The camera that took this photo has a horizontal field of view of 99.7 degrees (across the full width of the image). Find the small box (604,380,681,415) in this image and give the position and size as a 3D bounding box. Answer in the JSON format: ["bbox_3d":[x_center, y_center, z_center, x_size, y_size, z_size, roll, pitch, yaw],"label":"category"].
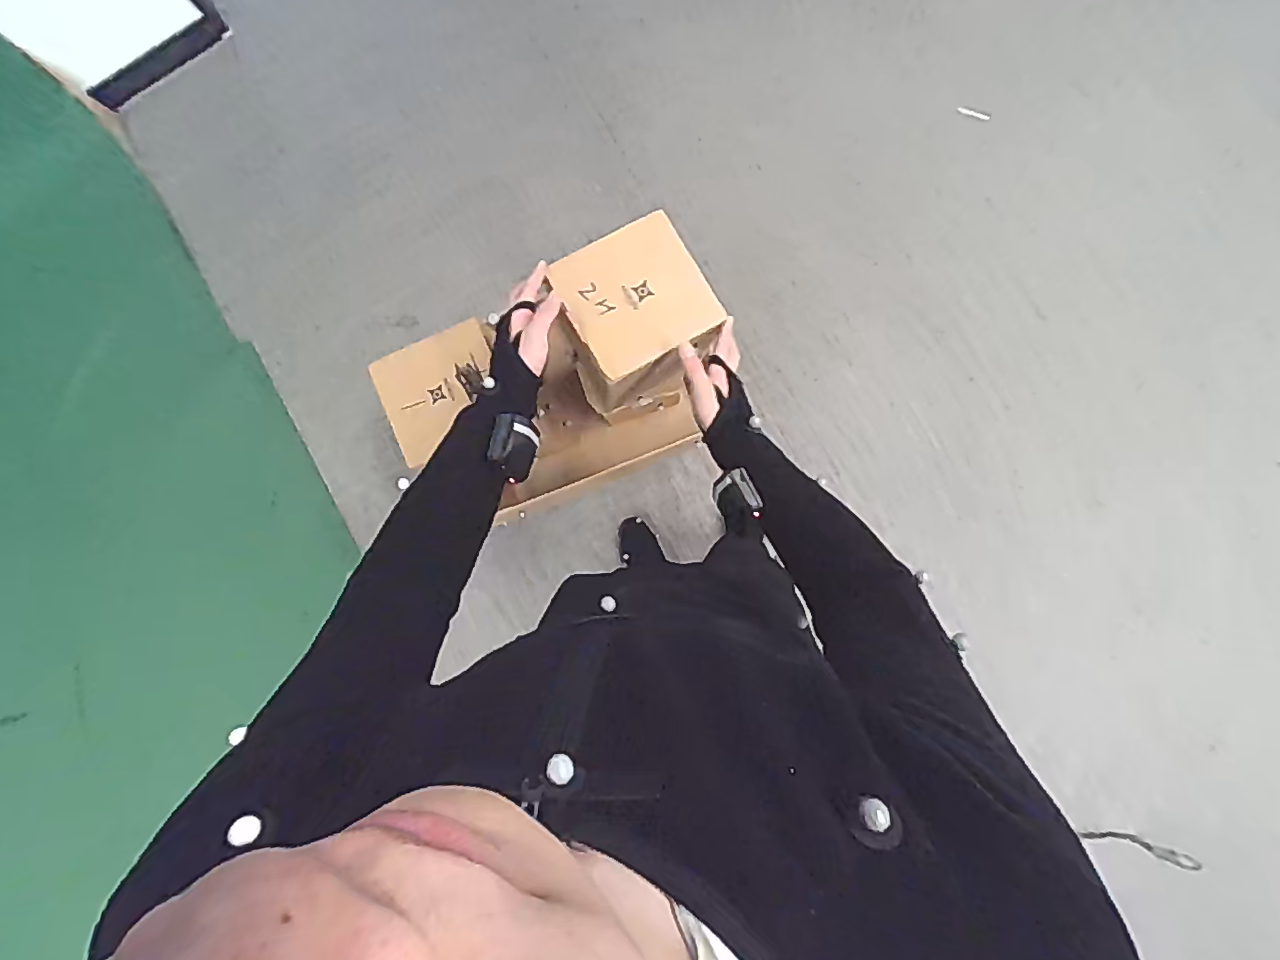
[{"bbox_3d":[-0.010,-0.245,1.165,0.168,0.176,0.179,-17,88,4],"label":"small box"}]

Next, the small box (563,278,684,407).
[{"bbox_3d":[-0.024,-0.245,1.004,0.179,0.176,0.168,-18,88,4],"label":"small box"}]

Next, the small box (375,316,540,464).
[{"bbox_3d":[-0.272,-0.132,0.858,0.179,0.176,0.168,-22,87,4],"label":"small box"}]
